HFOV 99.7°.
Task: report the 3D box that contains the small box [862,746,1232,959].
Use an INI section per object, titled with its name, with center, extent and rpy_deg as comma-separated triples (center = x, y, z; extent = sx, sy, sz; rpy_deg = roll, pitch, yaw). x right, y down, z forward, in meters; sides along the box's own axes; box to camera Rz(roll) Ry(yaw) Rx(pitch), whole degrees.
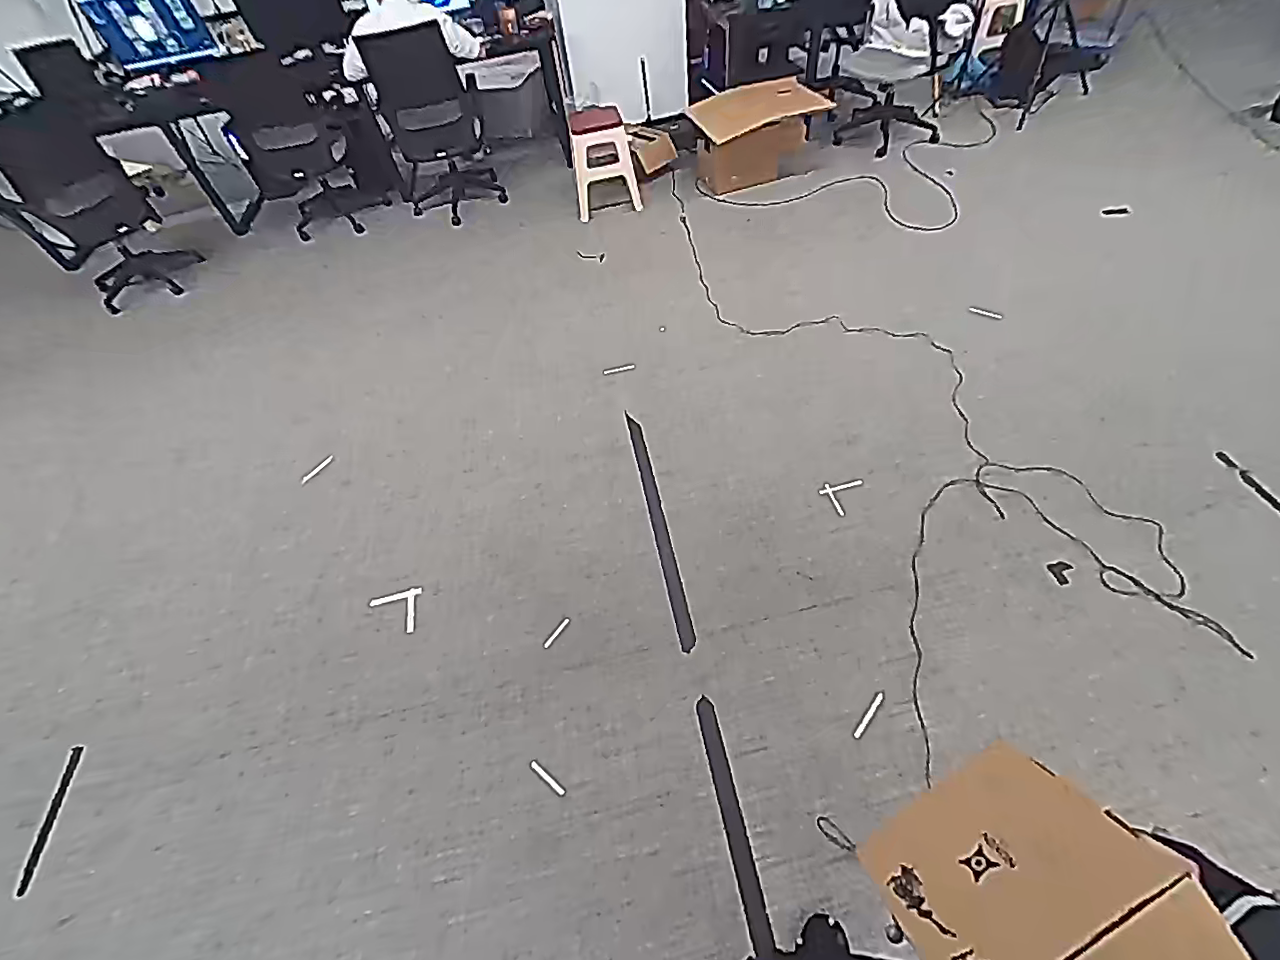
[small box]
center = 0.326, 0.368, 0.435
extent = 0.179, 0.168, 0.176
rpy_deg = -36, 92, -1
